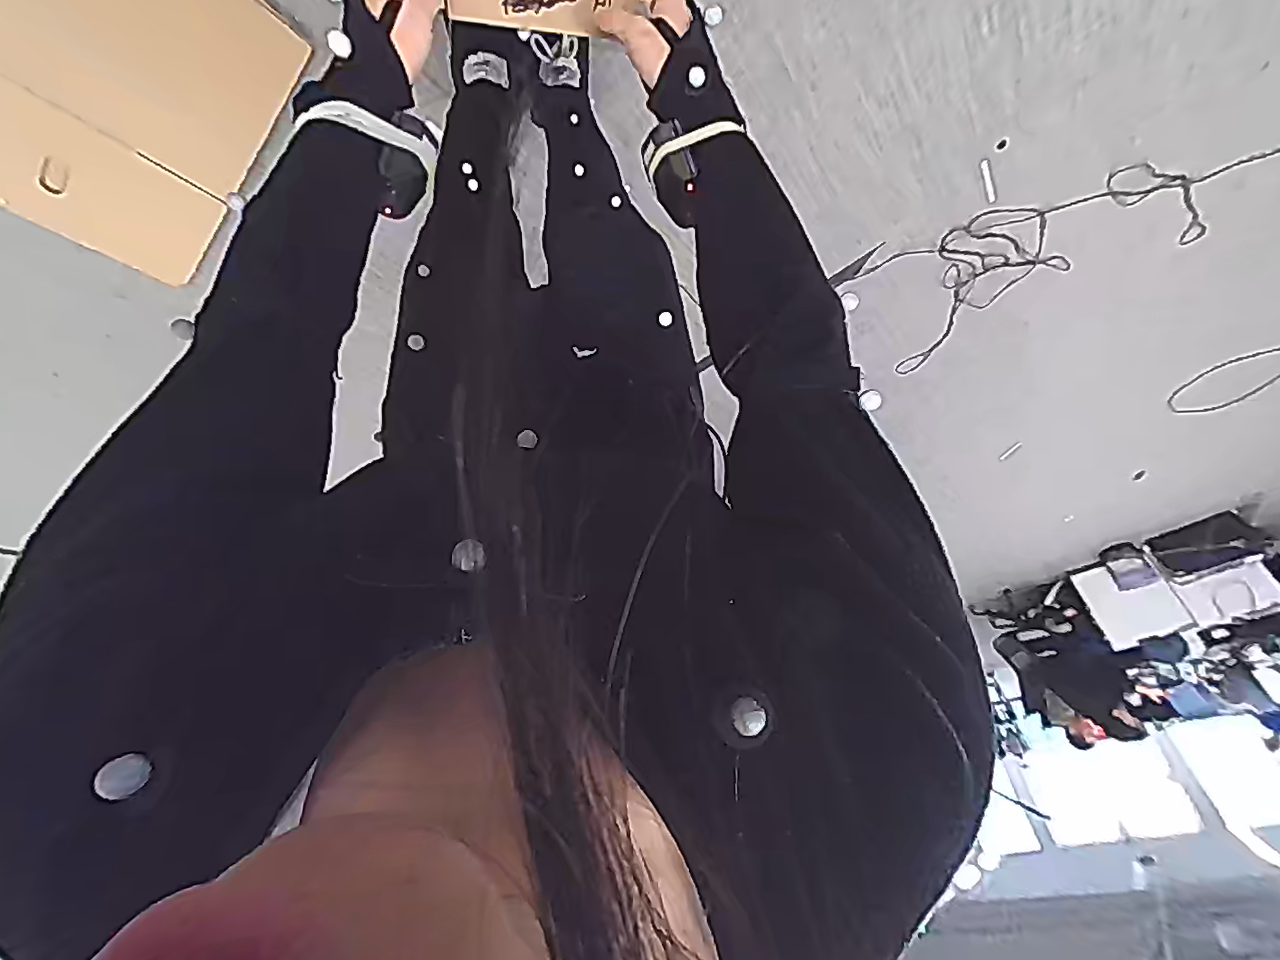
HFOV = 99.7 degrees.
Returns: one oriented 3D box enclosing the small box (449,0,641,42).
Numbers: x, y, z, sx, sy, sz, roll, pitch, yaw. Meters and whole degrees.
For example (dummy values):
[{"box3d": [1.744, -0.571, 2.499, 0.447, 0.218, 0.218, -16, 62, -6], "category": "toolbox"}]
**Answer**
[{"box3d": [-0.081, -0.514, 0.454, 0.168, 0.176, 0.179, -2, 146, -12], "category": "small box"}]
